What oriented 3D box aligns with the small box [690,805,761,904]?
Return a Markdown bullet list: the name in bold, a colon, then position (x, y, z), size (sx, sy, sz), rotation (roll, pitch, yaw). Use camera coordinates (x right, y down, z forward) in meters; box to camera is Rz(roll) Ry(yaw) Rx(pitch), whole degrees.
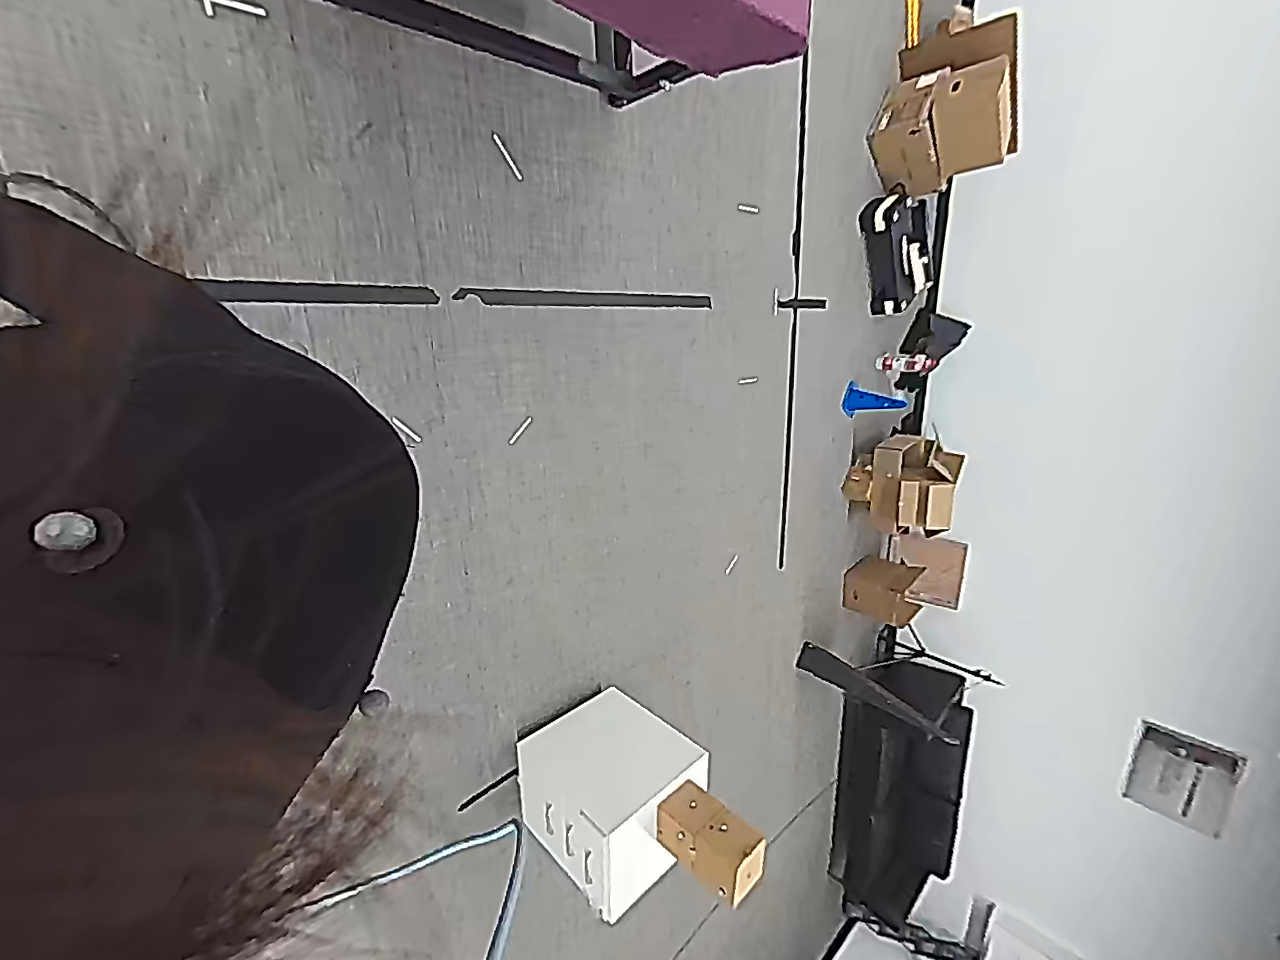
- **small box**: position (0.283, 1.249, 1.816), size (0.168, 0.176, 0.179), rotation (-13, 111, -44)
